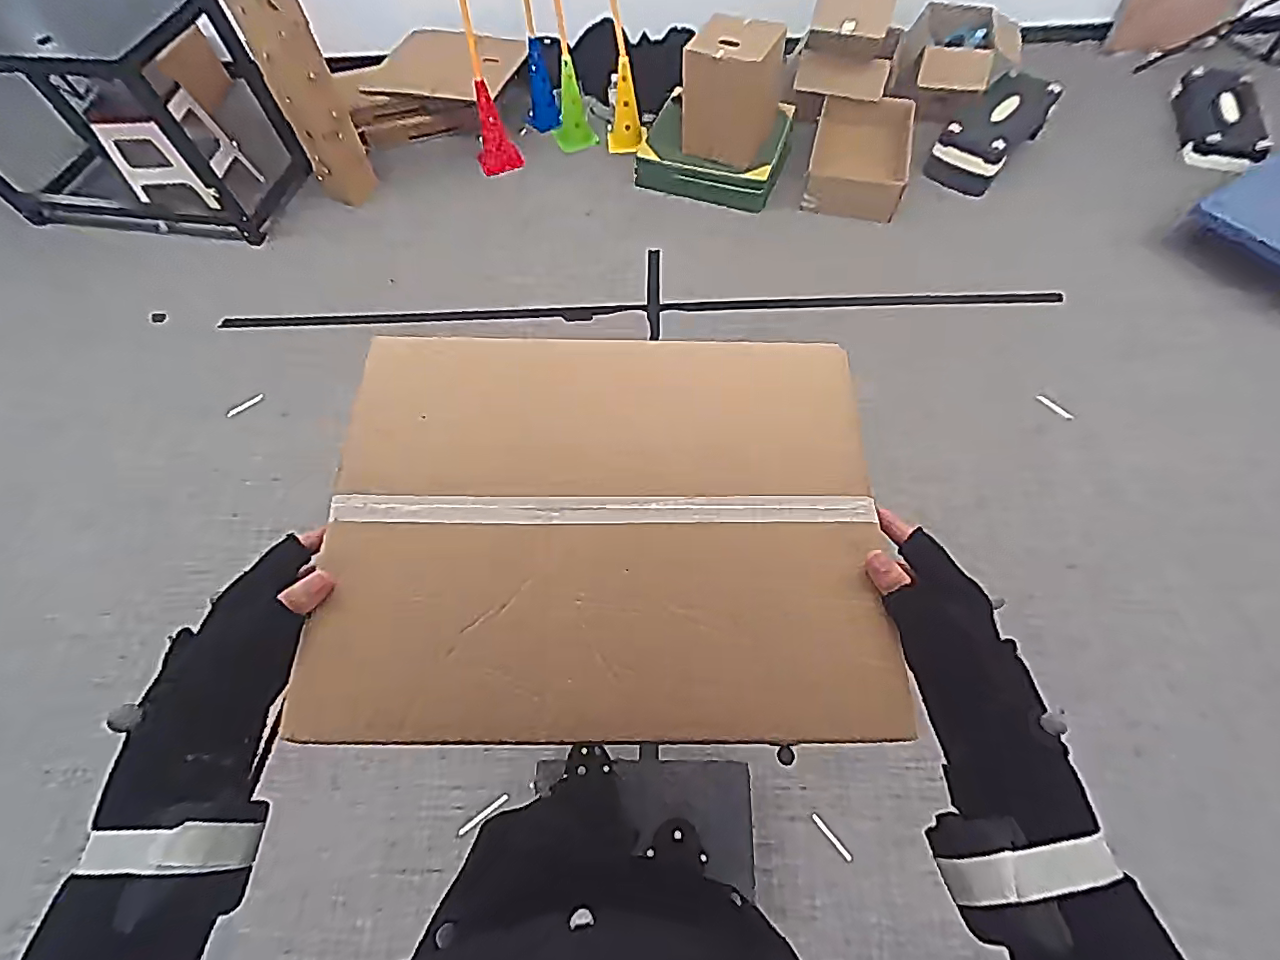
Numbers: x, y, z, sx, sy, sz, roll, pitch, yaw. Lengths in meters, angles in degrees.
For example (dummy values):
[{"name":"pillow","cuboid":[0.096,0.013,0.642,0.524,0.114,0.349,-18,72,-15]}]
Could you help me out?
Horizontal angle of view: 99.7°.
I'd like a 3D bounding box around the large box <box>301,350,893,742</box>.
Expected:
[{"name":"large box","cuboid":[-0.029,0.086,0.553,0.408,0.320,0.320,1,66,-2]}]
